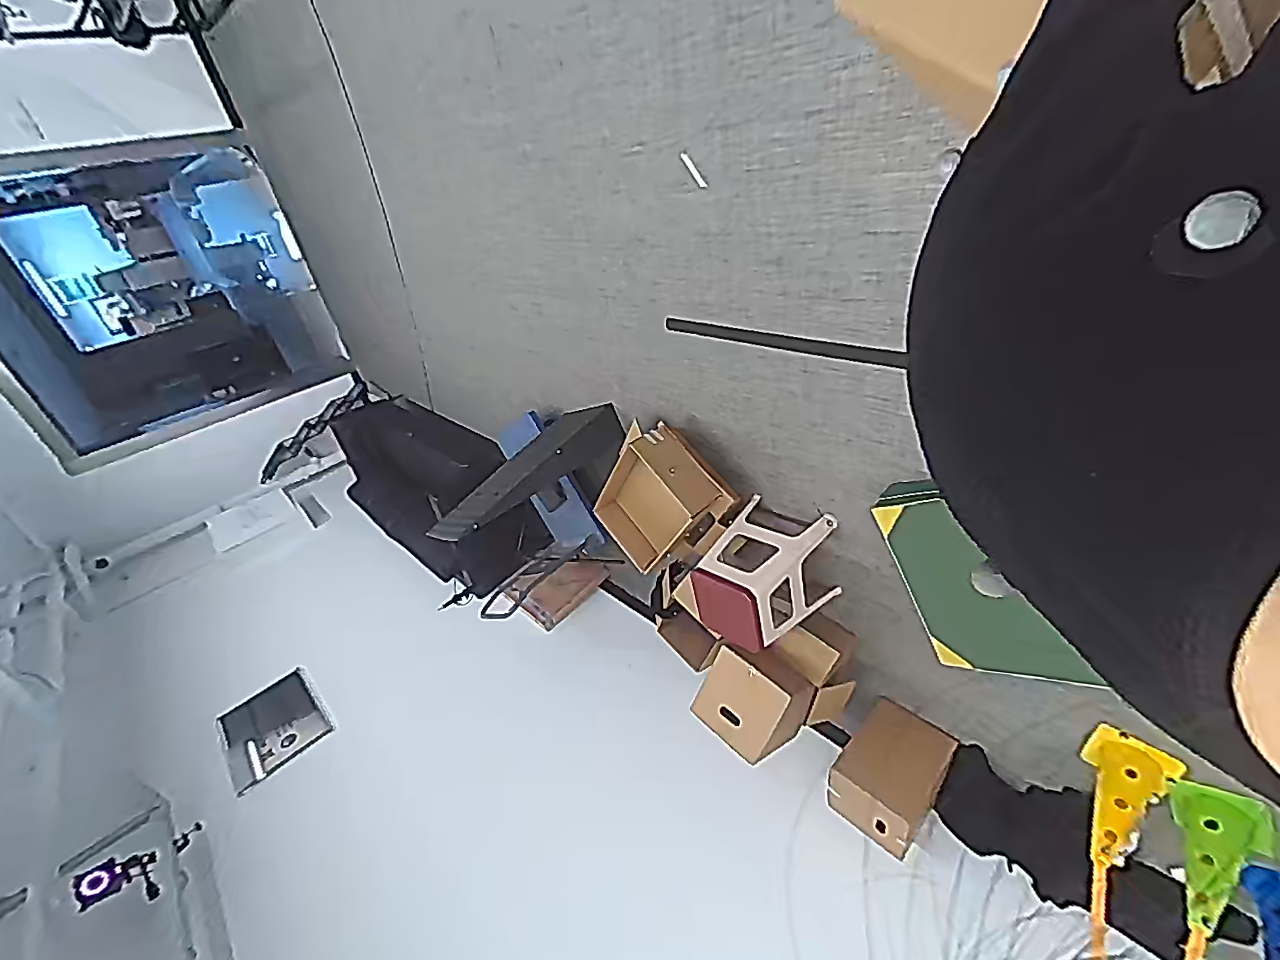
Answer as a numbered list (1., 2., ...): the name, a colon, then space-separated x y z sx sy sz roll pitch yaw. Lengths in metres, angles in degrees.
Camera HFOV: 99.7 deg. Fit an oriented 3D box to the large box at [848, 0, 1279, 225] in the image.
1. large box: 0.535 -0.569 0.627 0.320 0.408 0.320 -52 52 38
